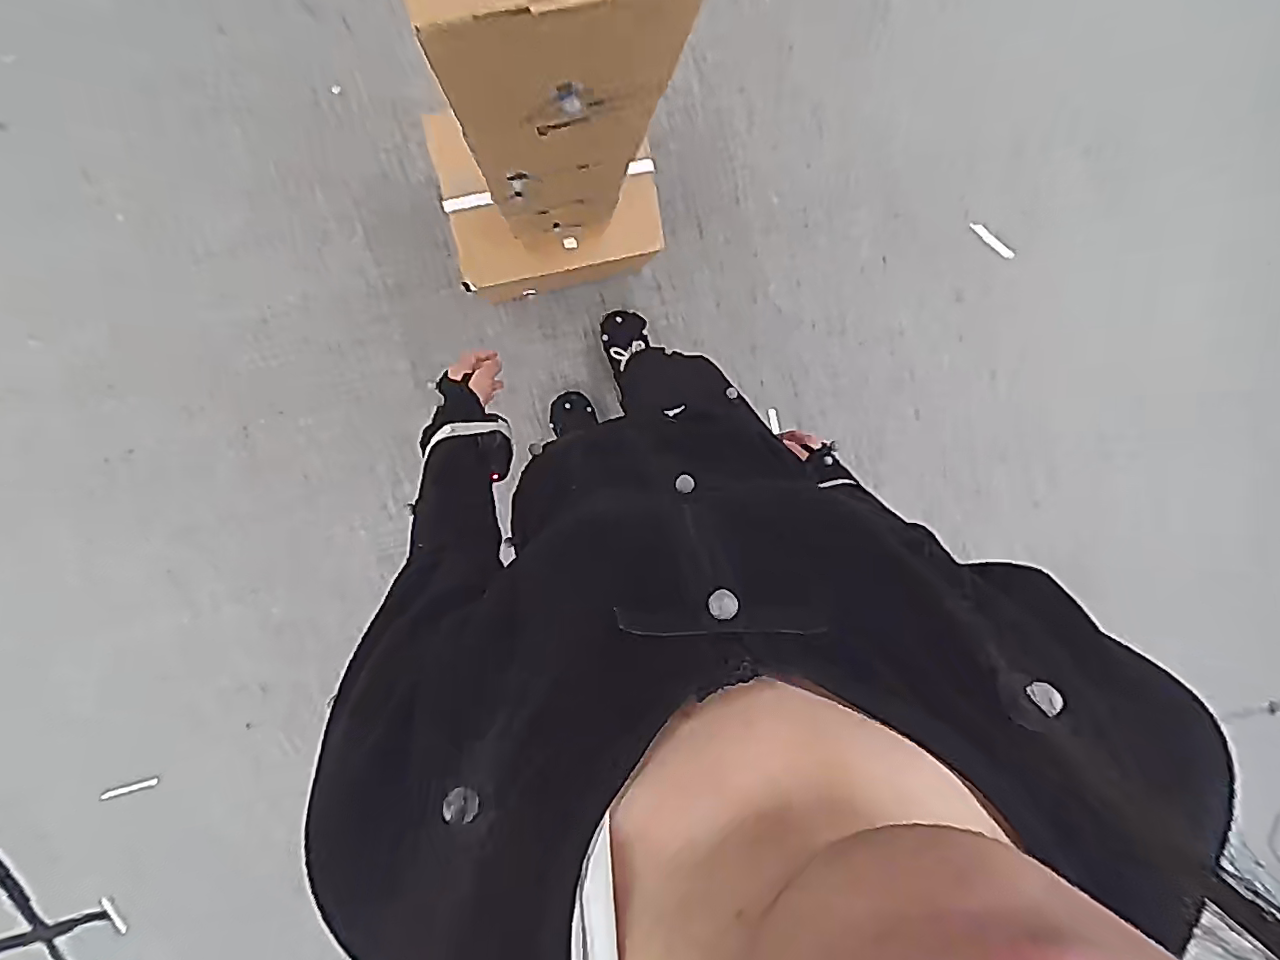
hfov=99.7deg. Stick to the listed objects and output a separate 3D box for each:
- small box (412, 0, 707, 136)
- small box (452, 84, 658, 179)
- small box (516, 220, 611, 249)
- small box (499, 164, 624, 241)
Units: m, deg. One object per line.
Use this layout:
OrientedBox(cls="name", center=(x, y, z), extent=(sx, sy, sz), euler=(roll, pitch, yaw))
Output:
OrientedBox(cls="small box", center=(-0.065, -0.353, 0.336), extent=(0.168, 0.176, 0.179), euler=(-15, 107, -3))
OrientedBox(cls="small box", center=(-0.087, -0.395, 0.493), extent=(0.168, 0.176, 0.179), euler=(-13, 105, -5))
OrientedBox(cls="small box", center=(-0.149, -0.526, 0.962), extent=(0.179, 0.176, 0.168), euler=(-16, 106, -4))
OrientedBox(cls="small box", center=(-0.130, -0.479, 0.808), extent=(0.168, 0.176, 0.179), euler=(-15, 107, -4))
